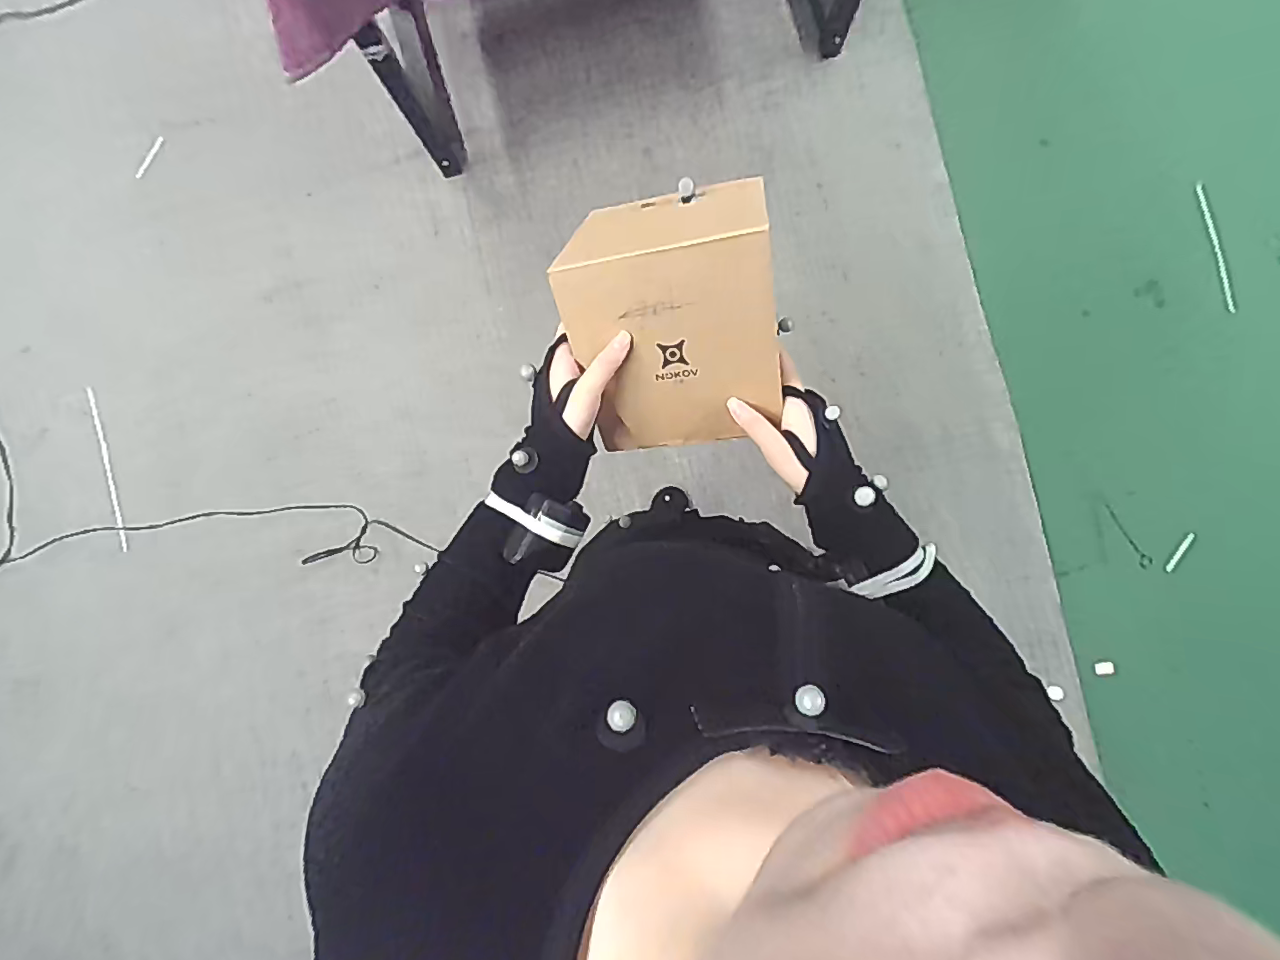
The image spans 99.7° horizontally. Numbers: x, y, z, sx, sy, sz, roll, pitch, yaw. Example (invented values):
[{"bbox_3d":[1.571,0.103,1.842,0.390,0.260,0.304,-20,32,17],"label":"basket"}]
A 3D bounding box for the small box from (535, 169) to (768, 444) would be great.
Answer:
[{"bbox_3d":[0.029,-0.156,0.495,0.168,0.176,0.179,-5,129,14],"label":"small box"}]
